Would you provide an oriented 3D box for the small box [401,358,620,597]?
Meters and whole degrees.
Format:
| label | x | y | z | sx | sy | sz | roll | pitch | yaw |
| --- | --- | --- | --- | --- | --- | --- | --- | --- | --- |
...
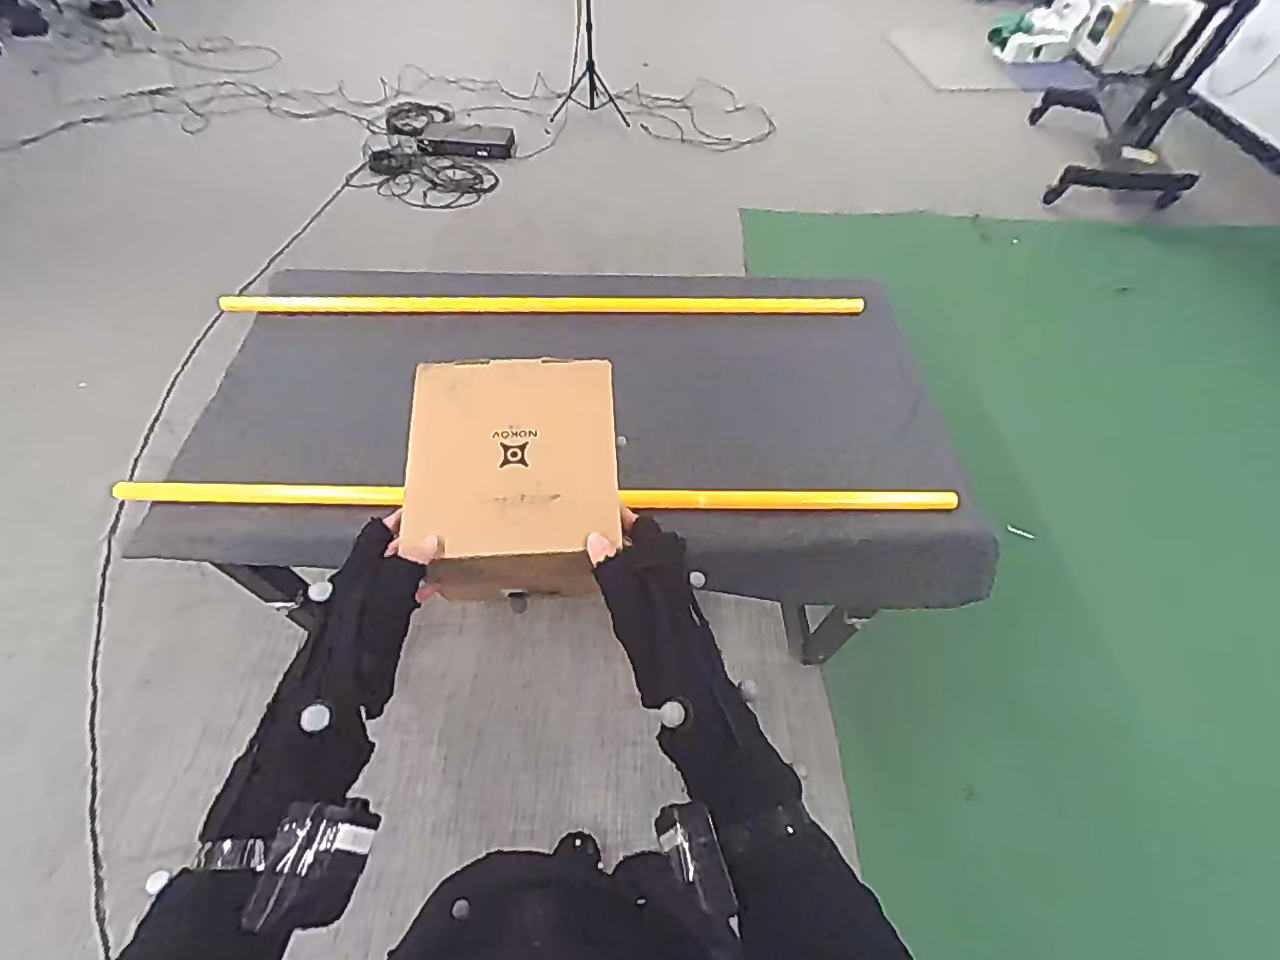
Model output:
| label | x | y | z | sx | sy | sz | roll | pitch | yaw |
| --- | --- | --- | --- | --- | --- | --- | --- | --- | --- |
| small box | -0.108 | 0.004 | 0.514 | 0.168 | 0.176 | 0.179 | -2 | 66 | -6 |
